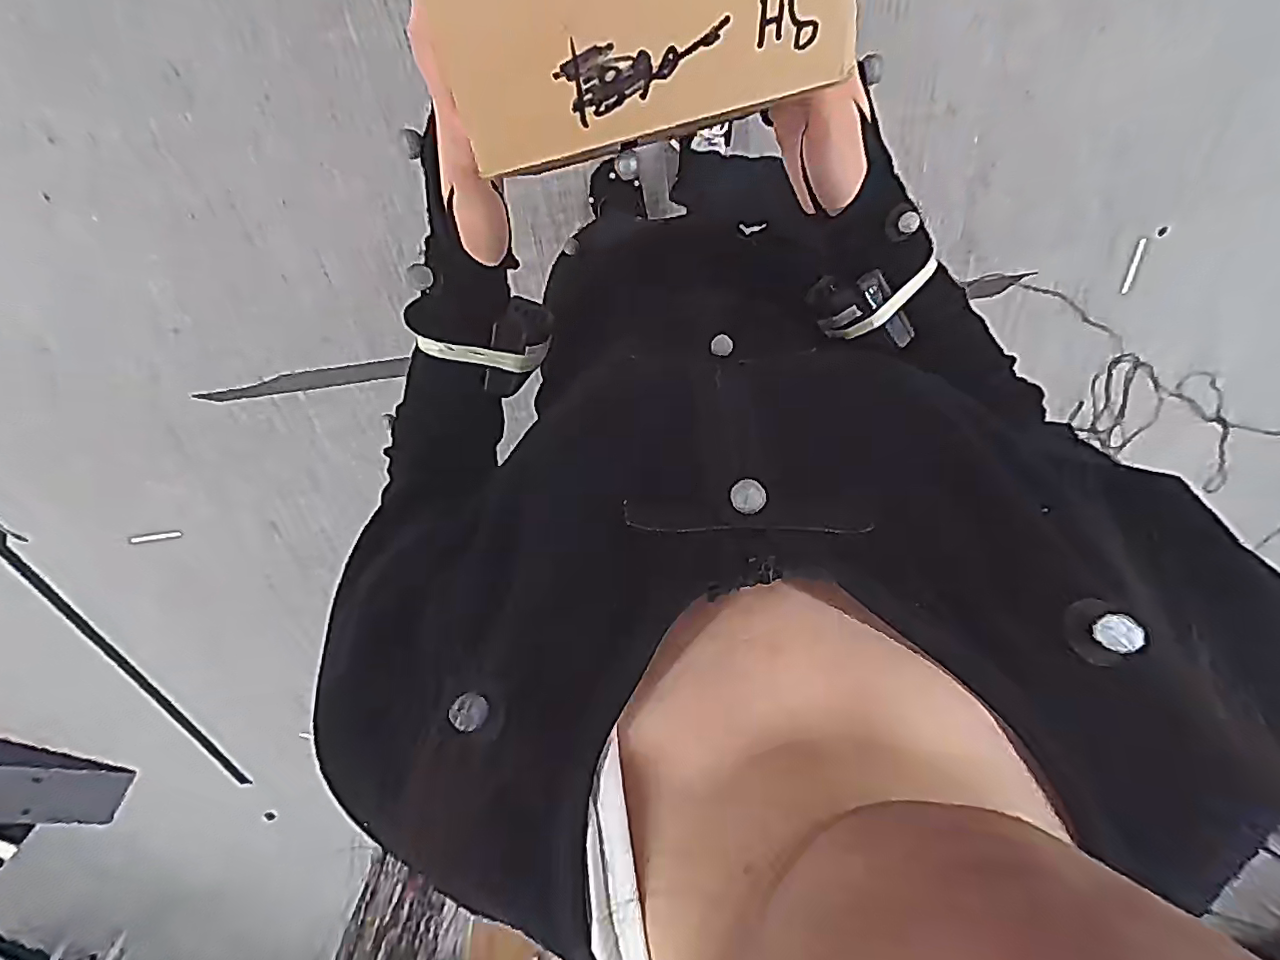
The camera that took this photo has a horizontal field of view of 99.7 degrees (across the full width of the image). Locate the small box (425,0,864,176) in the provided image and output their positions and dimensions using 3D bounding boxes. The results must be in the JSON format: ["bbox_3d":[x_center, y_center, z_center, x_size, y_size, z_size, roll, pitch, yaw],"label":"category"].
[{"bbox_3d":[-0.013,-0.258,0.253,0.168,0.176,0.179,-13,120,4],"label":"small box"}]
